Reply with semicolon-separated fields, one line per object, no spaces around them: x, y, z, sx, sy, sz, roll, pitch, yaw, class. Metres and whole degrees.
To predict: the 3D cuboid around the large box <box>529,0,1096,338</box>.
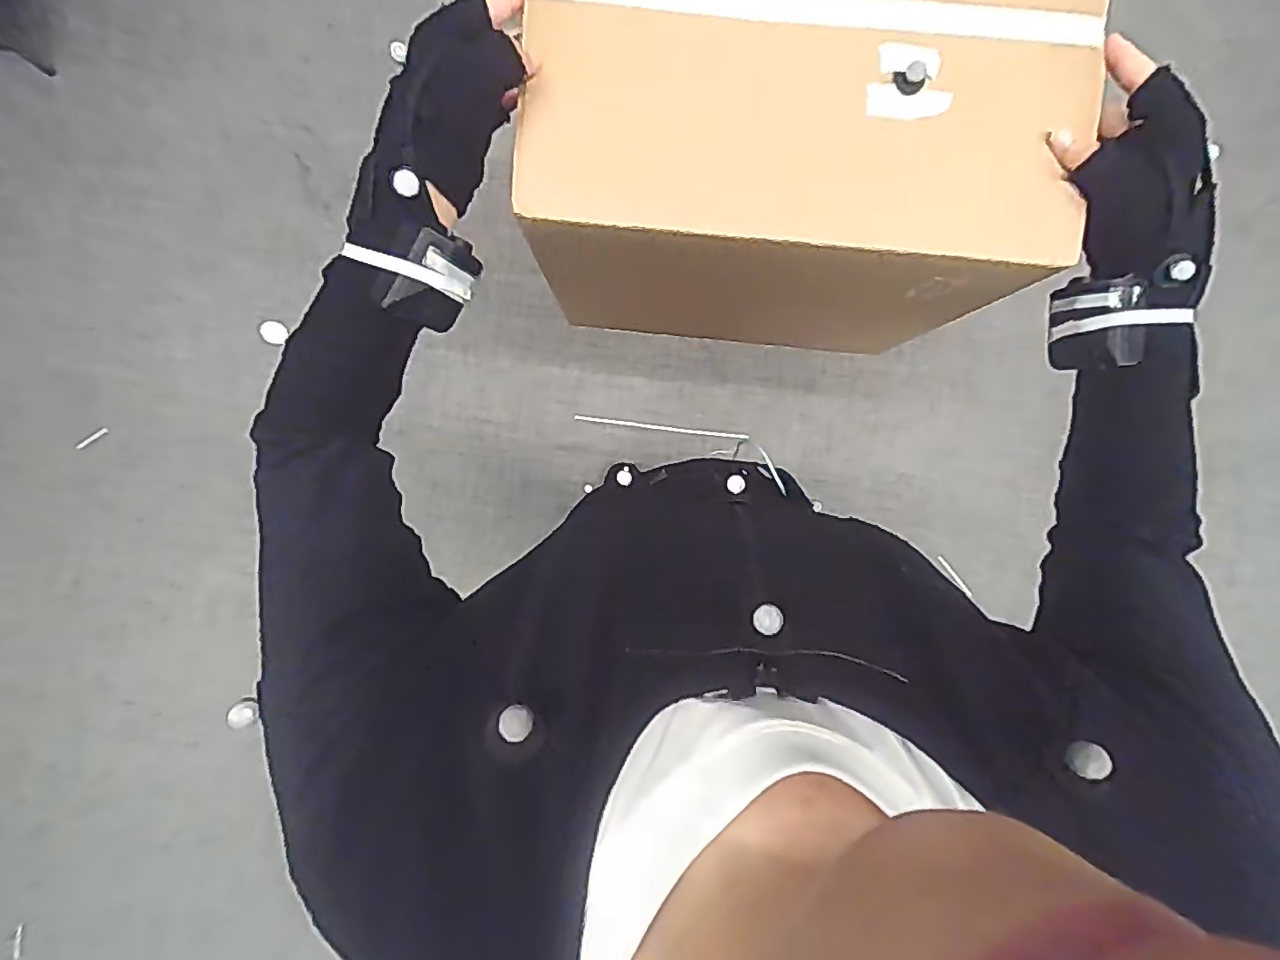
0.122;-0.340;0.535;0.408;0.320;0.320;5;93;-2;large box
